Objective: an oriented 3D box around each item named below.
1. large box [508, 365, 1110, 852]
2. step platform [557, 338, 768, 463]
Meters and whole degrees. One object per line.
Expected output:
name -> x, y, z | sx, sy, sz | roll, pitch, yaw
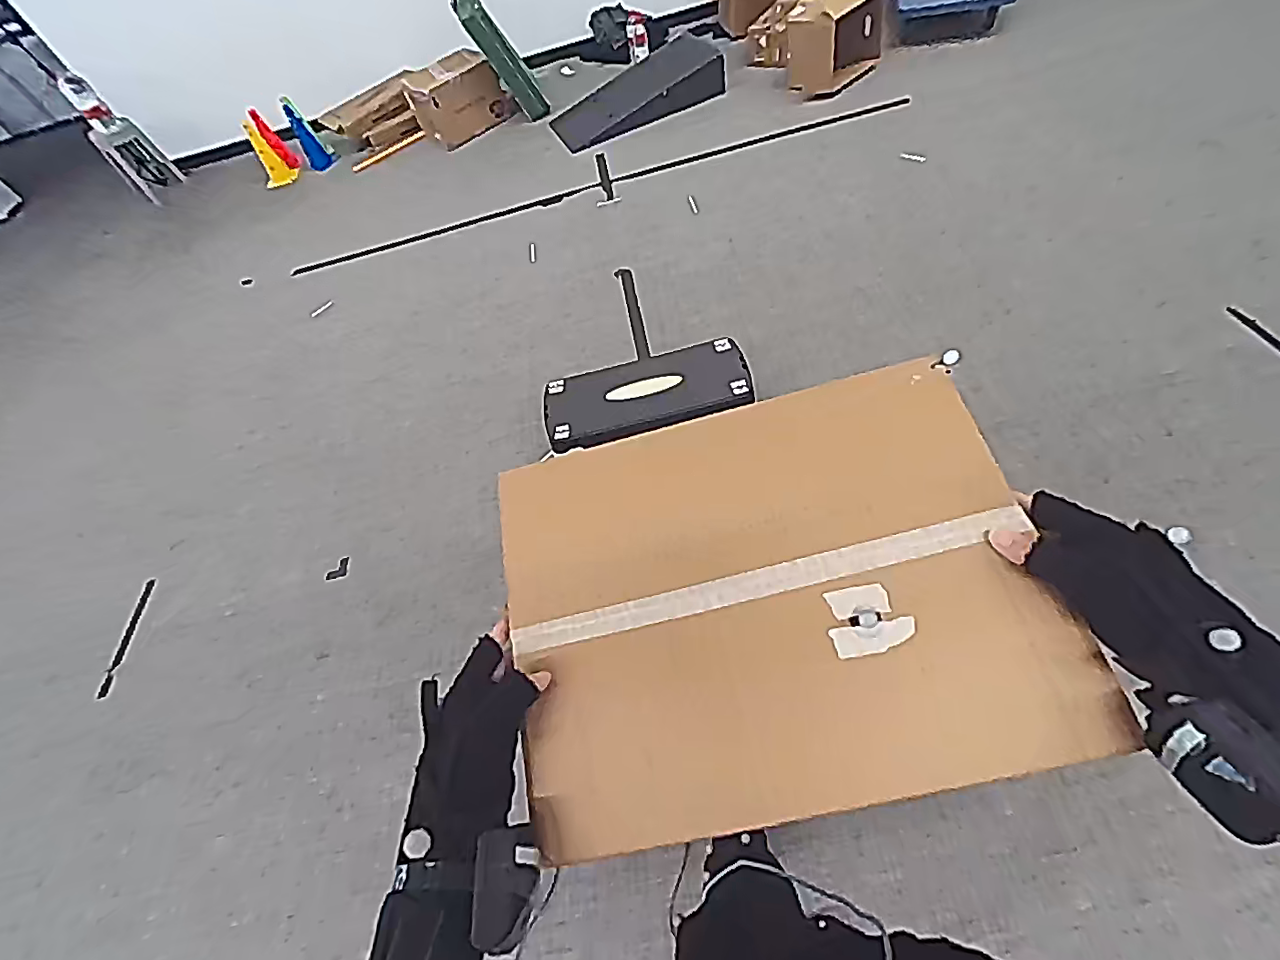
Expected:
large box -> 0.120, 0.142, 0.570 | 0.408, 0.320, 0.320 | -15, 65, 5
step platform -> 0.069, -0.243, 1.796 | 0.684, 0.204, 0.286 | -14, 55, 2
